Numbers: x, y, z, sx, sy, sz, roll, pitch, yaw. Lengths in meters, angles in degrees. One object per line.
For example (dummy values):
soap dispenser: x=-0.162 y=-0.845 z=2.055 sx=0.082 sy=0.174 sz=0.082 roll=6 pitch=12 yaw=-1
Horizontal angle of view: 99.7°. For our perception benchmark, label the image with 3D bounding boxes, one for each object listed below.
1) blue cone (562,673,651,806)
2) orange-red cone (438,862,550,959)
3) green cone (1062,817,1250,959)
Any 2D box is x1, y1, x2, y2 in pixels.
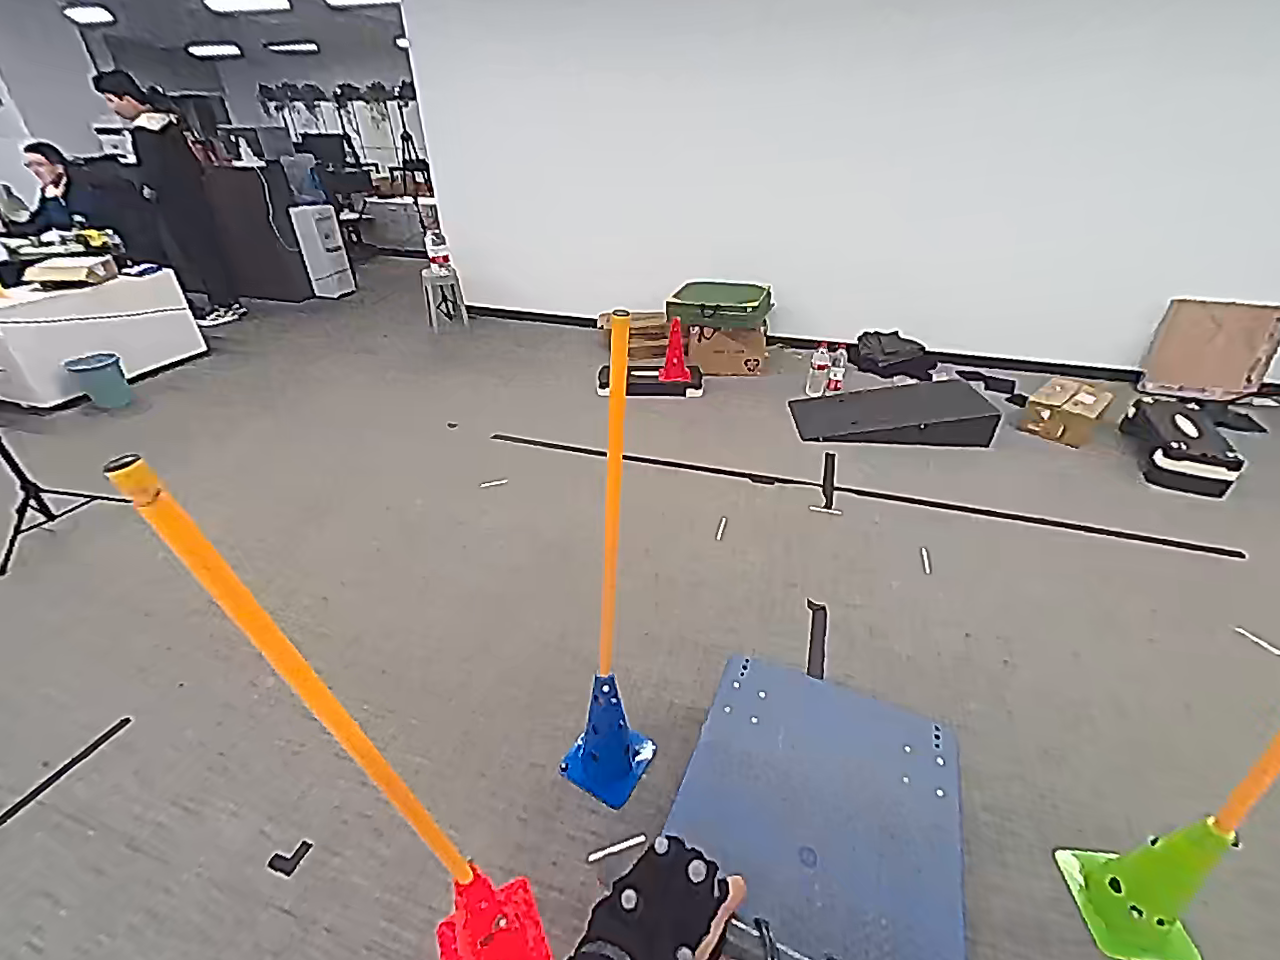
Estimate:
blue cone: x=-0.085 y=0.601 z=1.335 sx=0.193 sy=0.380 sz=0.192 roll=19 pitch=39 yaw=26
orange-red cone: x=-0.292 y=0.802 z=0.998 sx=0.199 sy=0.360 sz=0.198 roll=-14 pitch=37 yaw=-23
green cone: x=1.054 y=0.764 z=1.064 sx=0.200 sy=0.368 sz=0.202 roll=2 pitch=34 yaw=3
